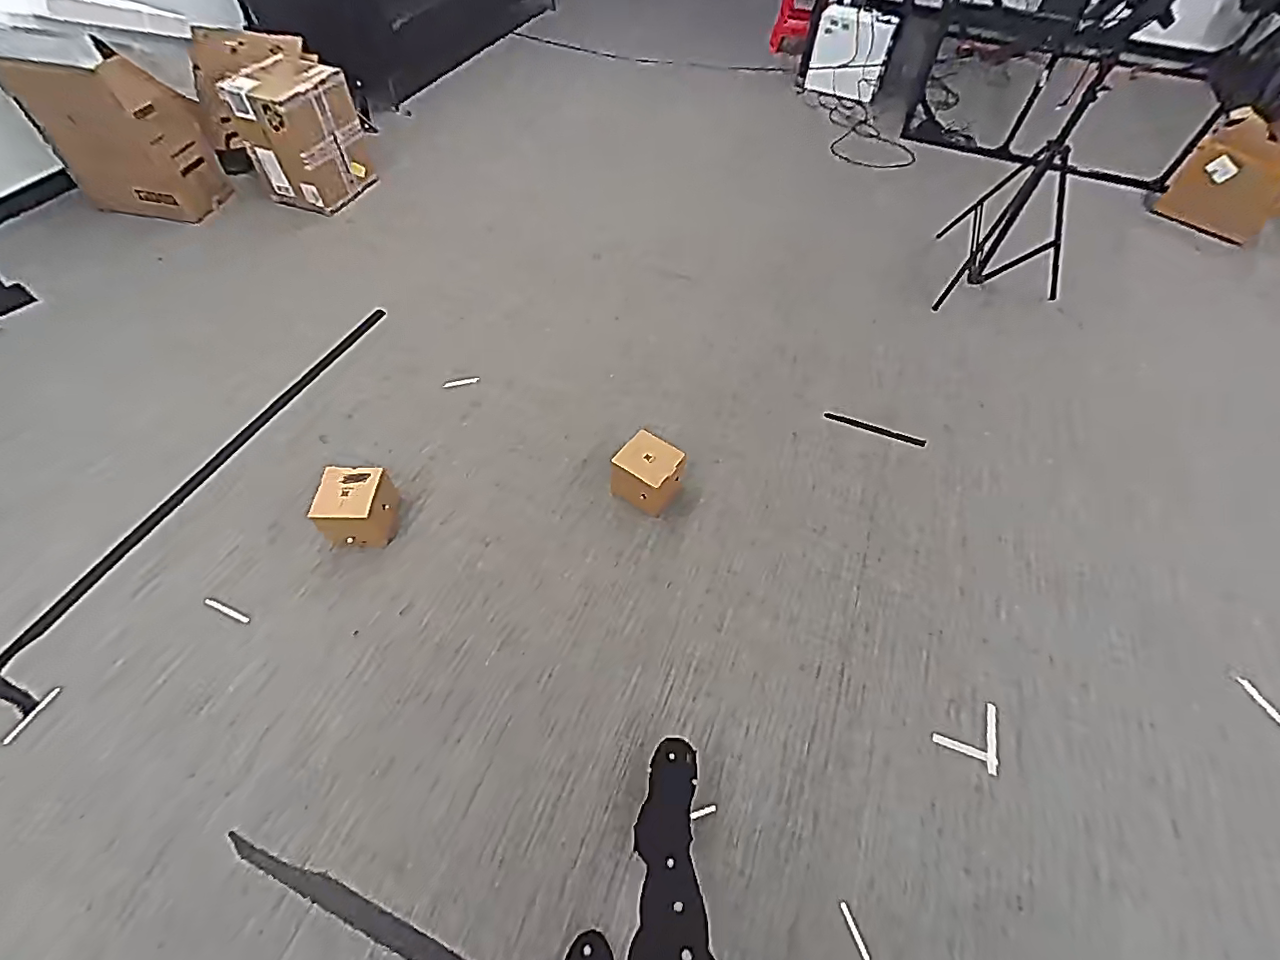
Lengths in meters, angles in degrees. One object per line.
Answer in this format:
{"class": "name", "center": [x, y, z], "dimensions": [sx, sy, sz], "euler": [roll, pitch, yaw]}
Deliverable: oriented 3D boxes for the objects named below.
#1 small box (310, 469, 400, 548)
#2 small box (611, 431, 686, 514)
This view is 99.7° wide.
{"class": "small box", "center": [-0.835, 0.085, 1.606], "dimensions": [0.168, 0.176, 0.179], "euler": [1, 56, -2]}
{"class": "small box", "center": [0.025, -0.016, 1.719], "dimensions": [0.179, 0.176, 0.168], "euler": [30, 58, 19]}
